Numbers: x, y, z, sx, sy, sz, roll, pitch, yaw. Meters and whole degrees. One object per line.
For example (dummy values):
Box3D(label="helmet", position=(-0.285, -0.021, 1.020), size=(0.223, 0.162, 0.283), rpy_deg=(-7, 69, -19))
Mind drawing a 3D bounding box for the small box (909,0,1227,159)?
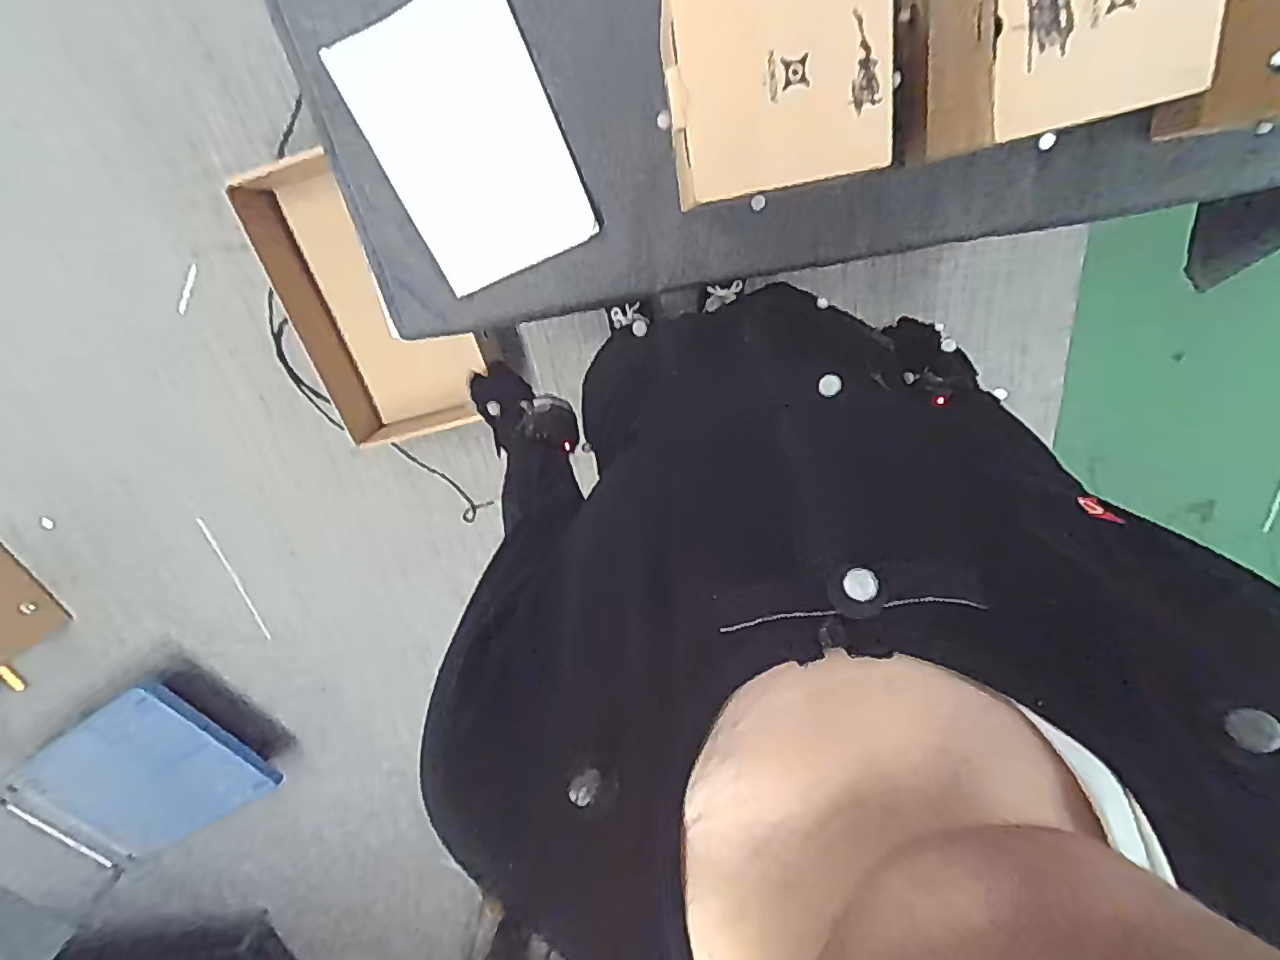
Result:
Box3D(label="small box", position=(0.360, -0.407, 0.485), size=(0.179, 0.176, 0.168), rpy_deg=(-12, 113, 5))

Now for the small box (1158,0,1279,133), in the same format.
Box3D(label="small box", position=(0.620, -0.430, 0.474), size=(0.168, 0.176, 0.179), rpy_deg=(-6, 114, 3))
